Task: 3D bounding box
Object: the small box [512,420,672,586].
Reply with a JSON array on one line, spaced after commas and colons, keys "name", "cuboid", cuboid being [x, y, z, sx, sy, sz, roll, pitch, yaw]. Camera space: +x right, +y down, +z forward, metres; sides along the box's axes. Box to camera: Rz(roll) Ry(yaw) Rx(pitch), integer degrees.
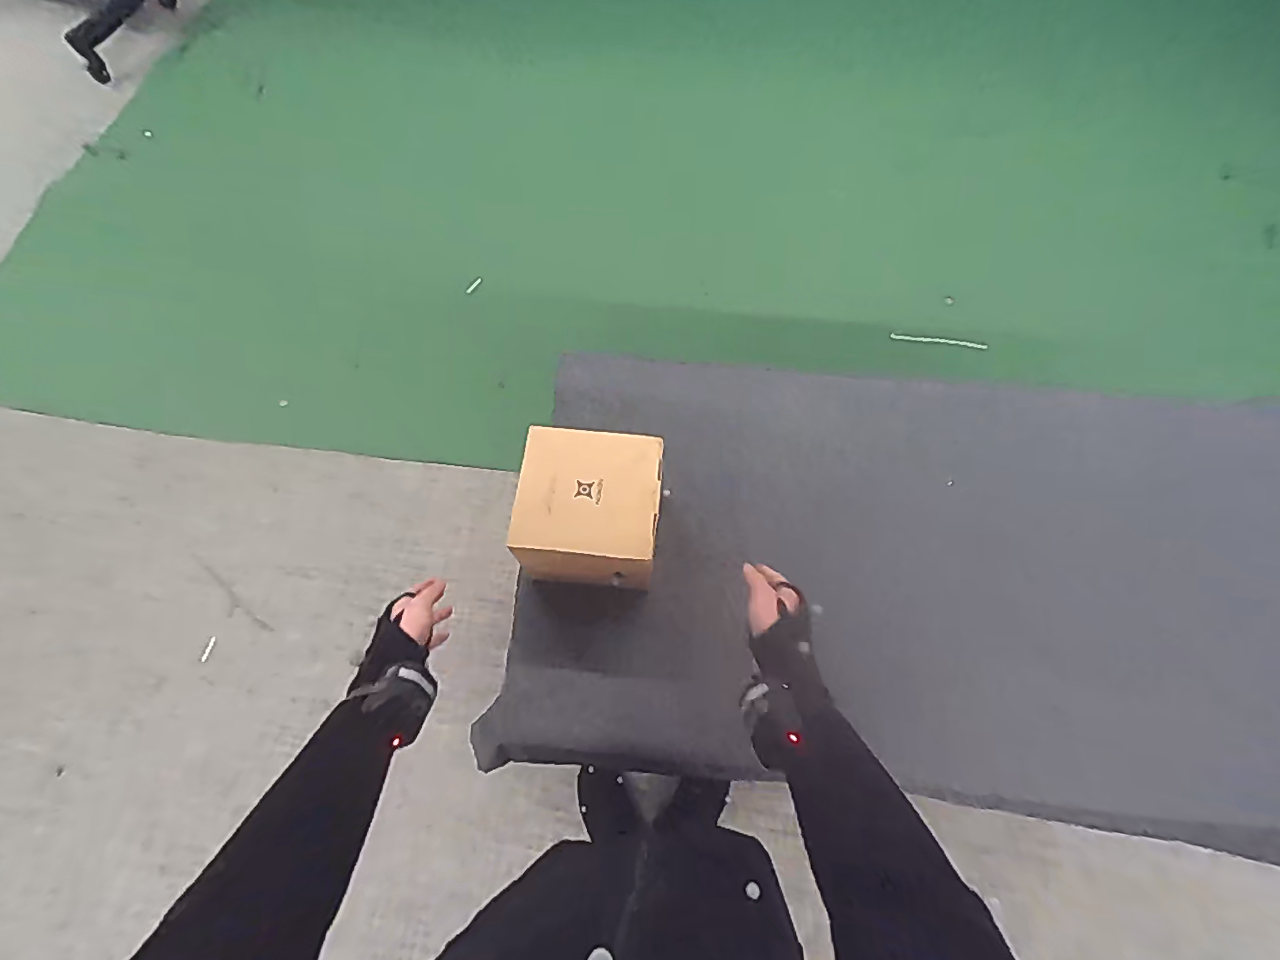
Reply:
[{"name": "small box", "cuboid": [-0.056, 0.039, 0.720, 0.179, 0.176, 0.168, 5, 64, 1]}]
